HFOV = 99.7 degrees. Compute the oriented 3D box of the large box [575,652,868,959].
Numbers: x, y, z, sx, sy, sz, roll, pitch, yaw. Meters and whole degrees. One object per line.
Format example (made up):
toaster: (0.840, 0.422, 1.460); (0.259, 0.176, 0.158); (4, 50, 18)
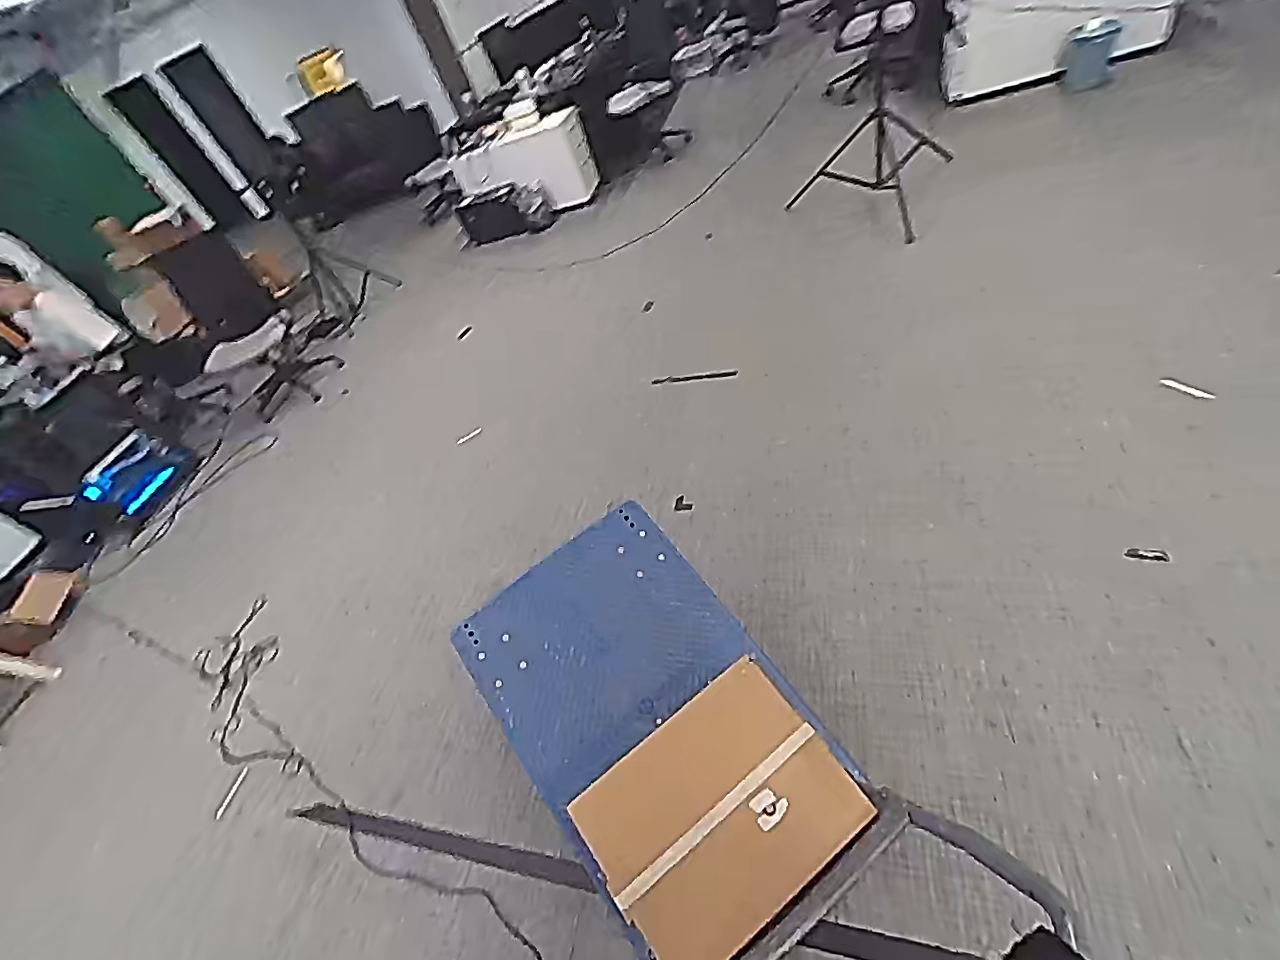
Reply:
large box: (0.142, 0.603, 1.034); (0.408, 0.320, 0.320); (-37, 69, -13)
